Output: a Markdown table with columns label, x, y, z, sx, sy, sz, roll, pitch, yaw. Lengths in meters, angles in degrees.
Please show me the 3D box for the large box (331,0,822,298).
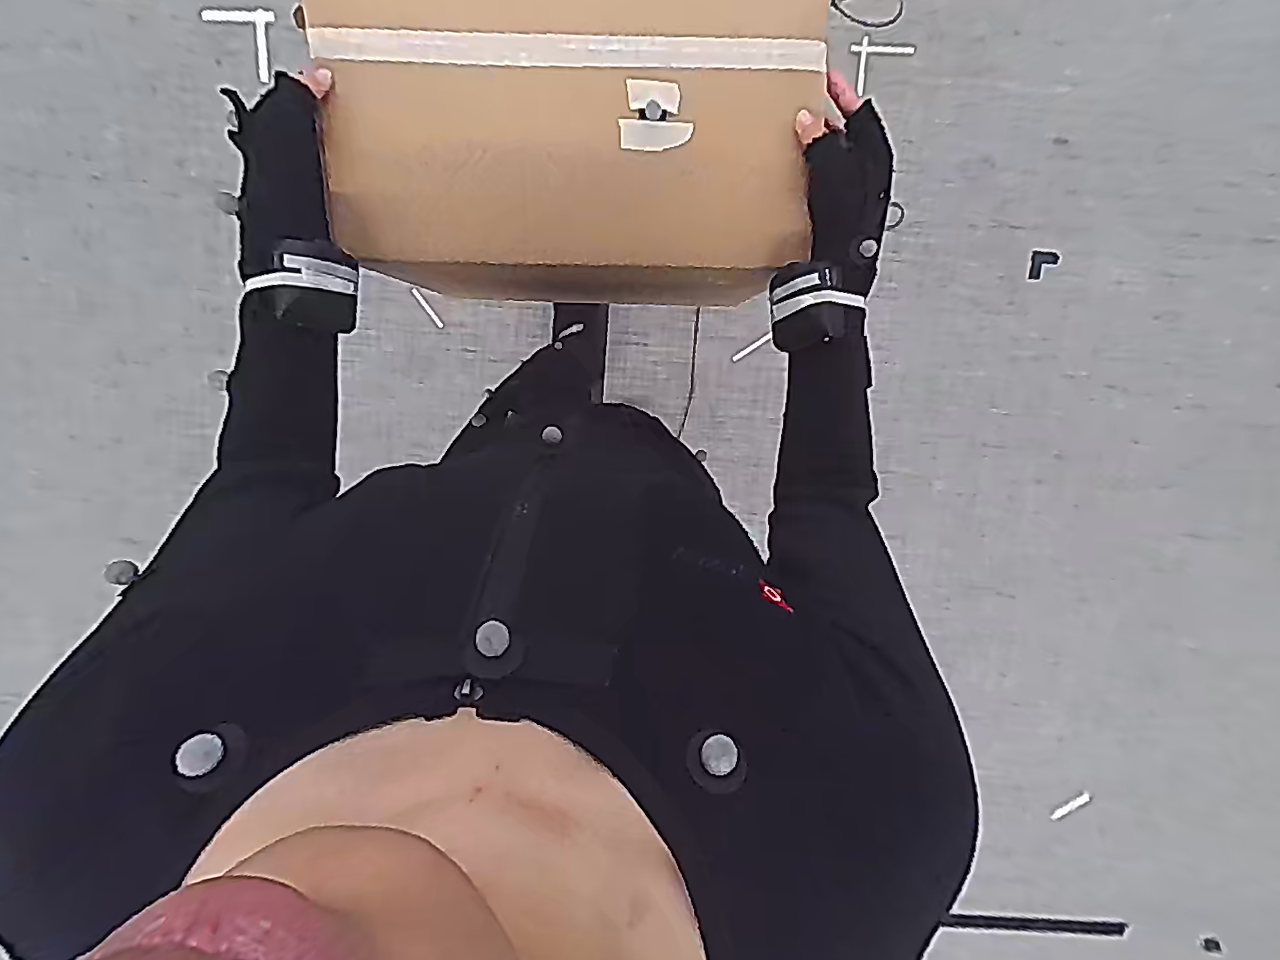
| label | x | y | z | sx | sy | sz | roll | pitch | yaw |
| --- | --- | --- | --- | --- | --- | --- | --- | --- | --- |
| large box | -0.056 | -0.378 | 0.590 | 0.408 | 0.320 | 0.320 | 0 | 103 | -2 |
